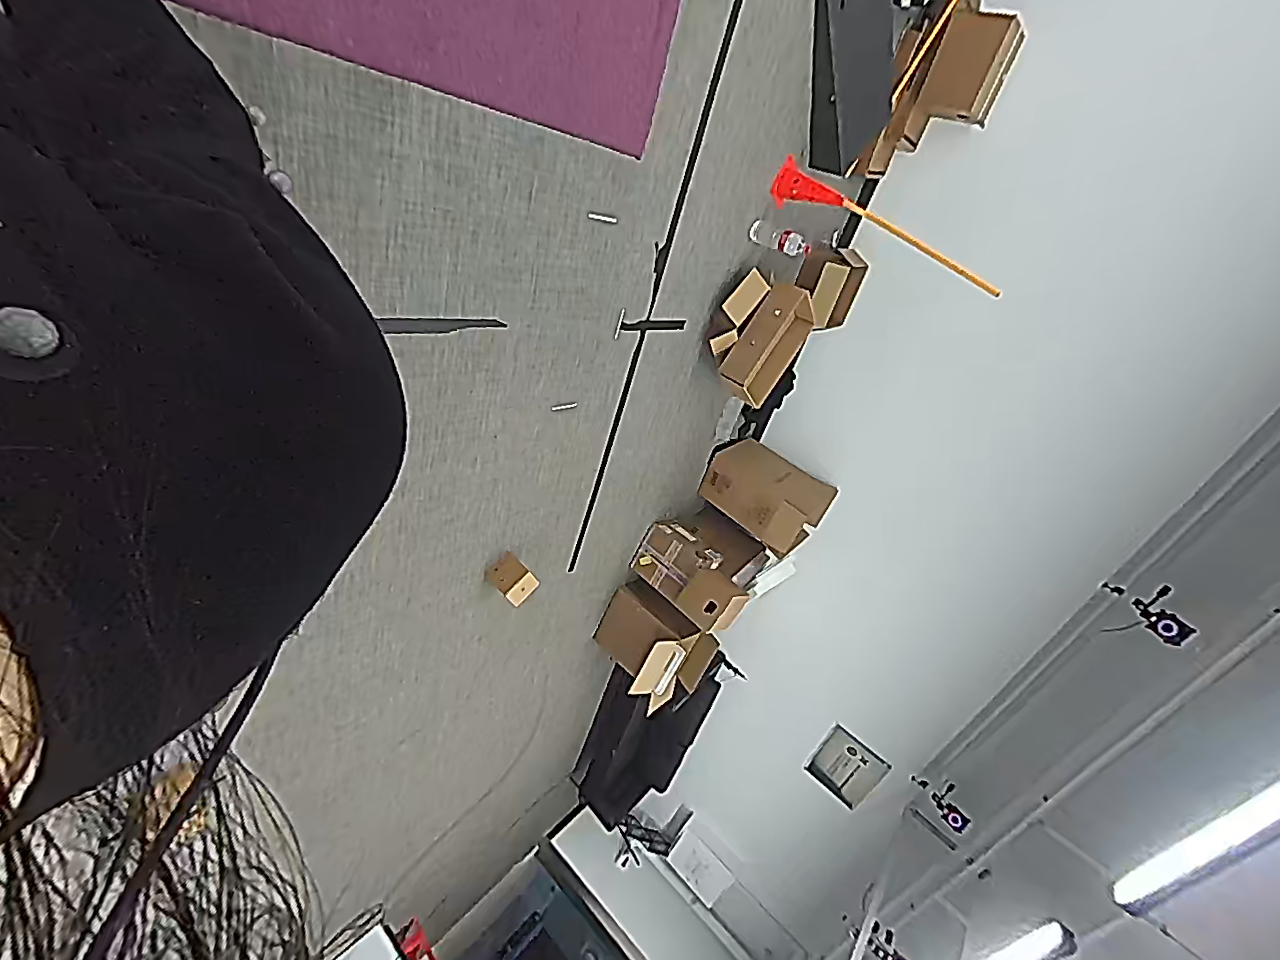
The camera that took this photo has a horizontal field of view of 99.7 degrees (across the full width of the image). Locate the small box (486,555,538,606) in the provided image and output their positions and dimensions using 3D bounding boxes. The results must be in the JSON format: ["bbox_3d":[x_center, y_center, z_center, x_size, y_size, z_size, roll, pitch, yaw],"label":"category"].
[{"bbox_3d":[-0.651,0.504,2.738,0.168,0.176,0.179,-45,153,-17],"label":"small box"}]
